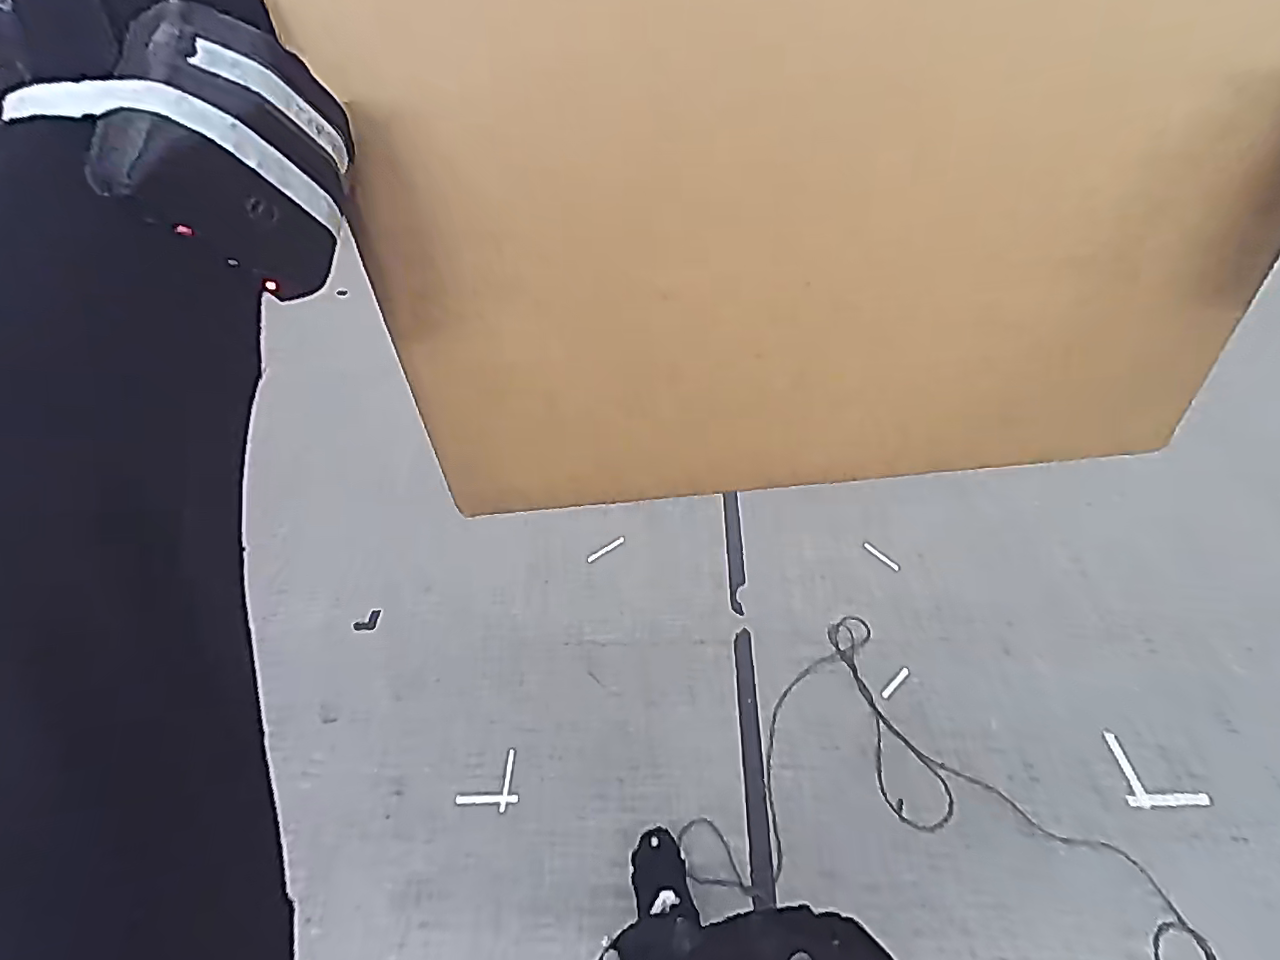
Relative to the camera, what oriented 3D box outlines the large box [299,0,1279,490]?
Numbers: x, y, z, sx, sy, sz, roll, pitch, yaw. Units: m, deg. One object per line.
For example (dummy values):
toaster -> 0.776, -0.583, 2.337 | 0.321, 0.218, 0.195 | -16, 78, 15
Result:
large box -> 0.071, -0.217, 0.346 | 0.408, 0.320, 0.320 | -5, 37, 0
